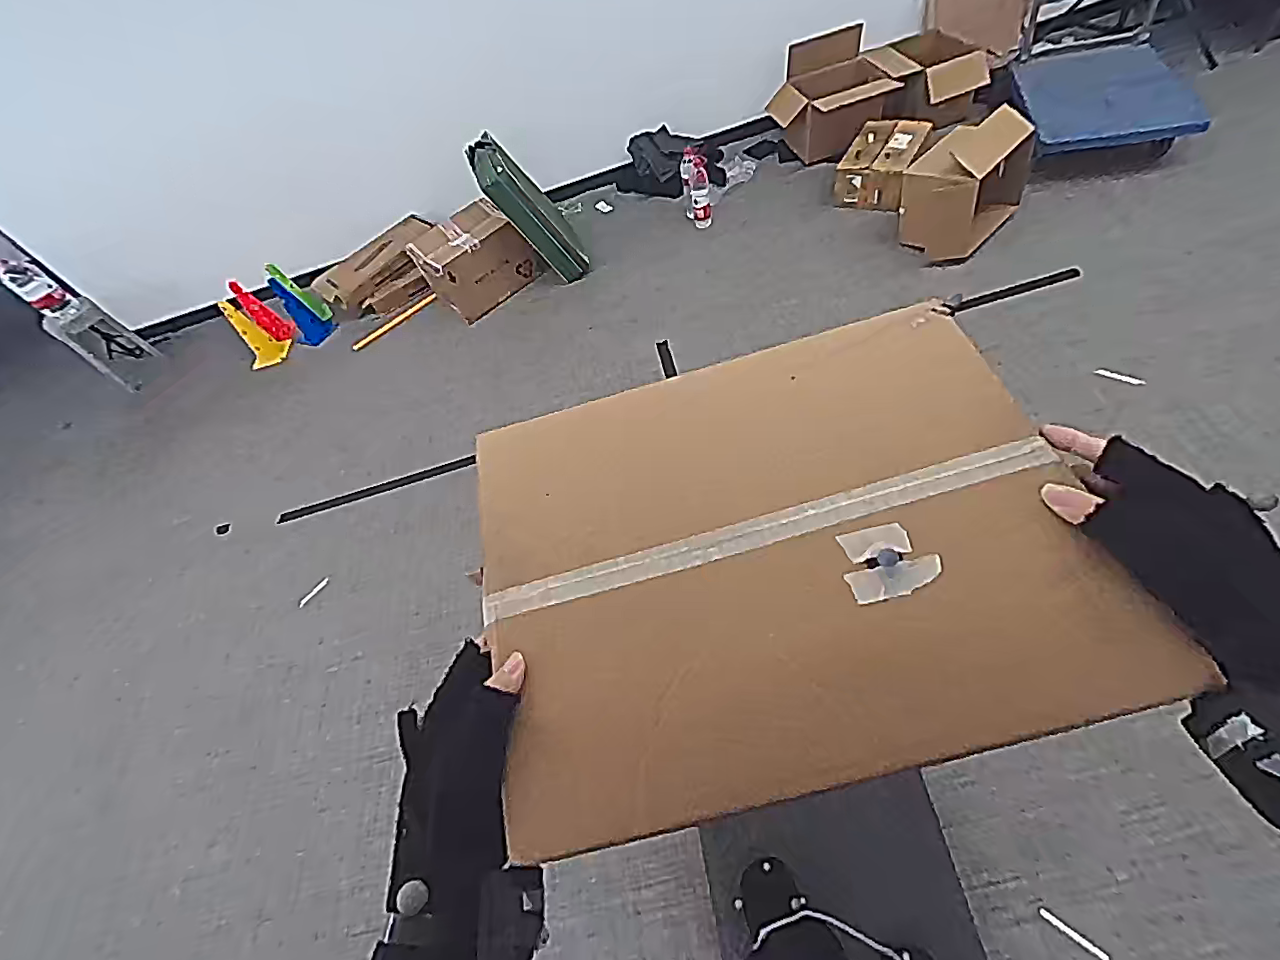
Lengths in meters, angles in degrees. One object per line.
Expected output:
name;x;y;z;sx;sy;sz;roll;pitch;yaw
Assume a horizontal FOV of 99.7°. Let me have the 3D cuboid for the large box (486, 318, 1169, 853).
large box;0.111;0.115;0.522;0.408;0.320;0.320;-16;60;2
